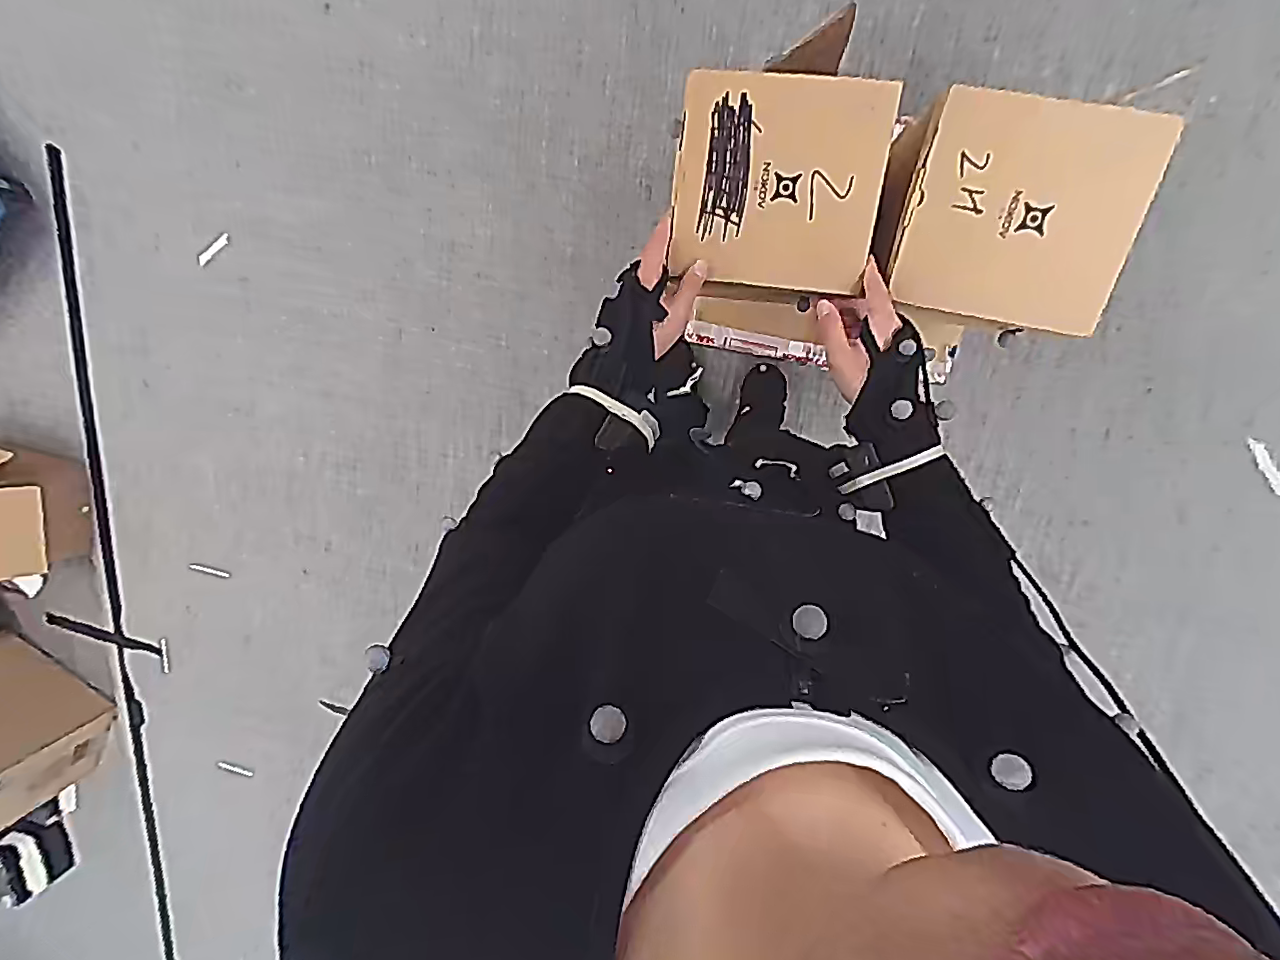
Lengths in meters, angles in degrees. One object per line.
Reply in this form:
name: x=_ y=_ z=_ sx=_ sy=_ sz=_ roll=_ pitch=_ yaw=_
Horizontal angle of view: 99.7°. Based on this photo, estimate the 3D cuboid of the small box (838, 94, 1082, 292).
small box: x=0.357 y=-0.327 z=0.651 sx=0.179 sy=0.176 sz=0.168 roll=14 pitch=110 yaw=4
